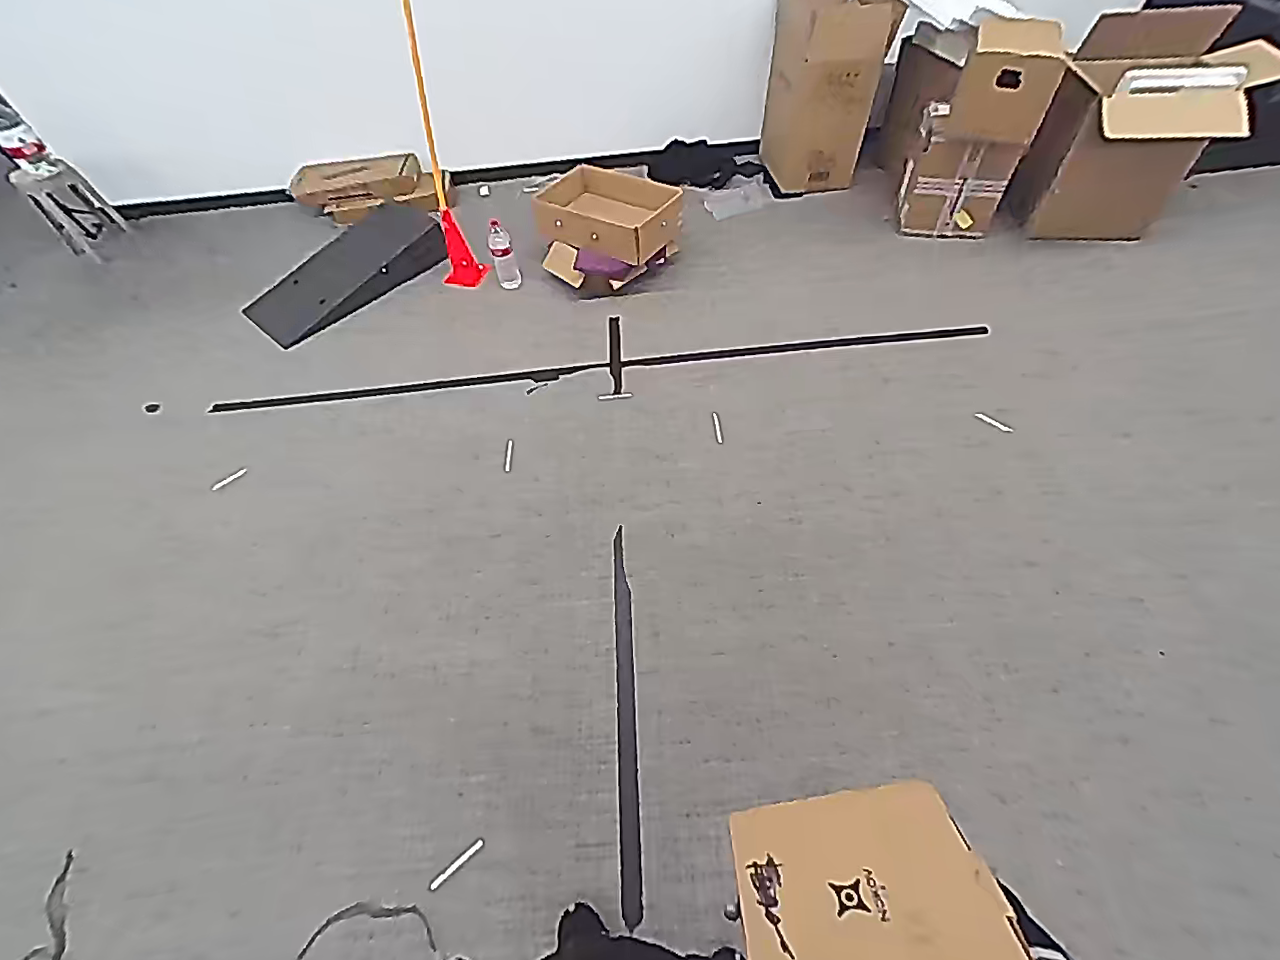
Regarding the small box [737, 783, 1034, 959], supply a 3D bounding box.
[{"bbox_3d":[0.184,0.377,0.418,0.179,0.176,0.168,-13,17,6],"label":"small box"}]
